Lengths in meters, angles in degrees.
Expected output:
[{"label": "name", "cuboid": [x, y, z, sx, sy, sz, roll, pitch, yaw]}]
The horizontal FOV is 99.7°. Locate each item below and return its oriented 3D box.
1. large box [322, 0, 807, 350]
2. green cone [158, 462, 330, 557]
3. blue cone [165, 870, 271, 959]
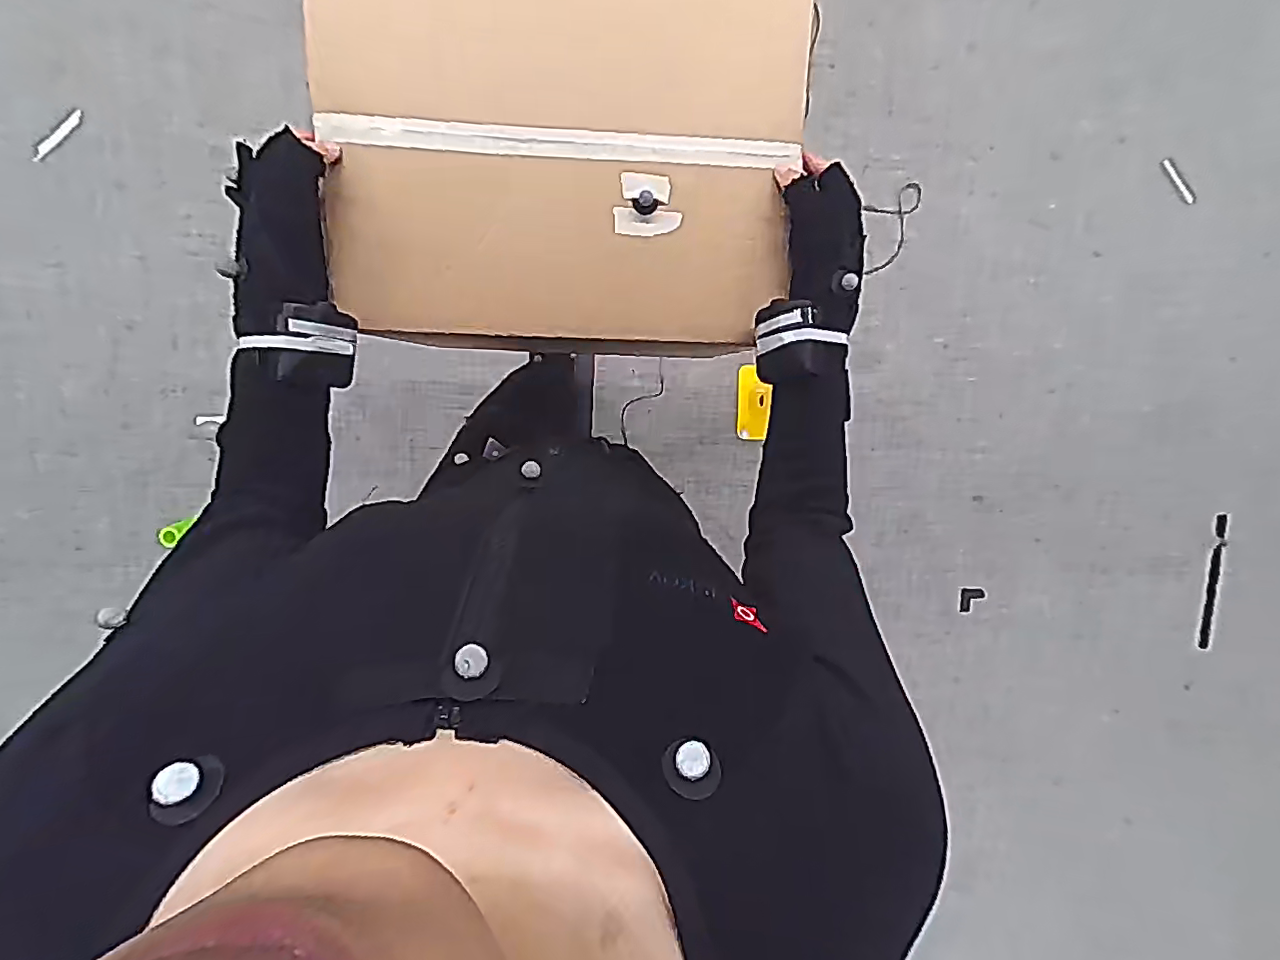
[{"label": "large box", "cuboid": [-0.073, -0.315, 0.607, 0.408, 0.320, 0.320, 1, 101, -6]}, {"label": "green cone", "cuboid": [-0.947, 0.094, 1.259, 0.202, 0.368, 0.200, -36, 95, 2]}, {"label": "blue cone", "cuboid": [-1.134, 1.206, 1.363, 0.192, 0.380, 0.193, 5, 94, -2]}]
